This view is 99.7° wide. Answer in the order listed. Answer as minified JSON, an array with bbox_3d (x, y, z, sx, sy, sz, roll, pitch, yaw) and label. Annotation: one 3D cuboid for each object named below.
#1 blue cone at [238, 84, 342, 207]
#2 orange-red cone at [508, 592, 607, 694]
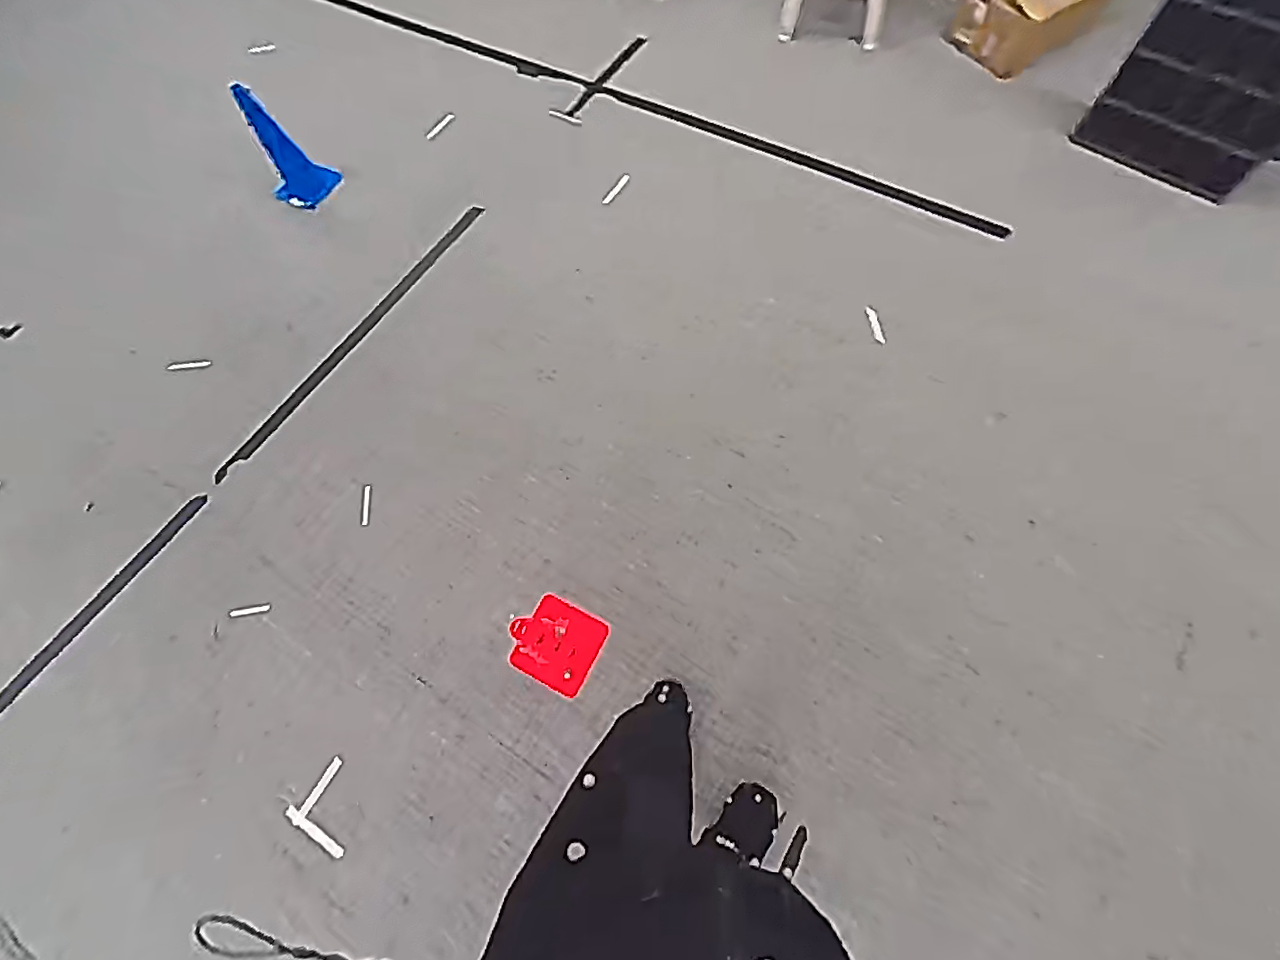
[{"bbox_3d":[-1.250,-1.174,1.881,0.192,0.380,0.193,25,72,14],"label":"blue cone"},{"bbox_3d":[-0.216,0.337,1.188,0.198,0.360,0.199,26,71,13],"label":"orange-red cone"}]
